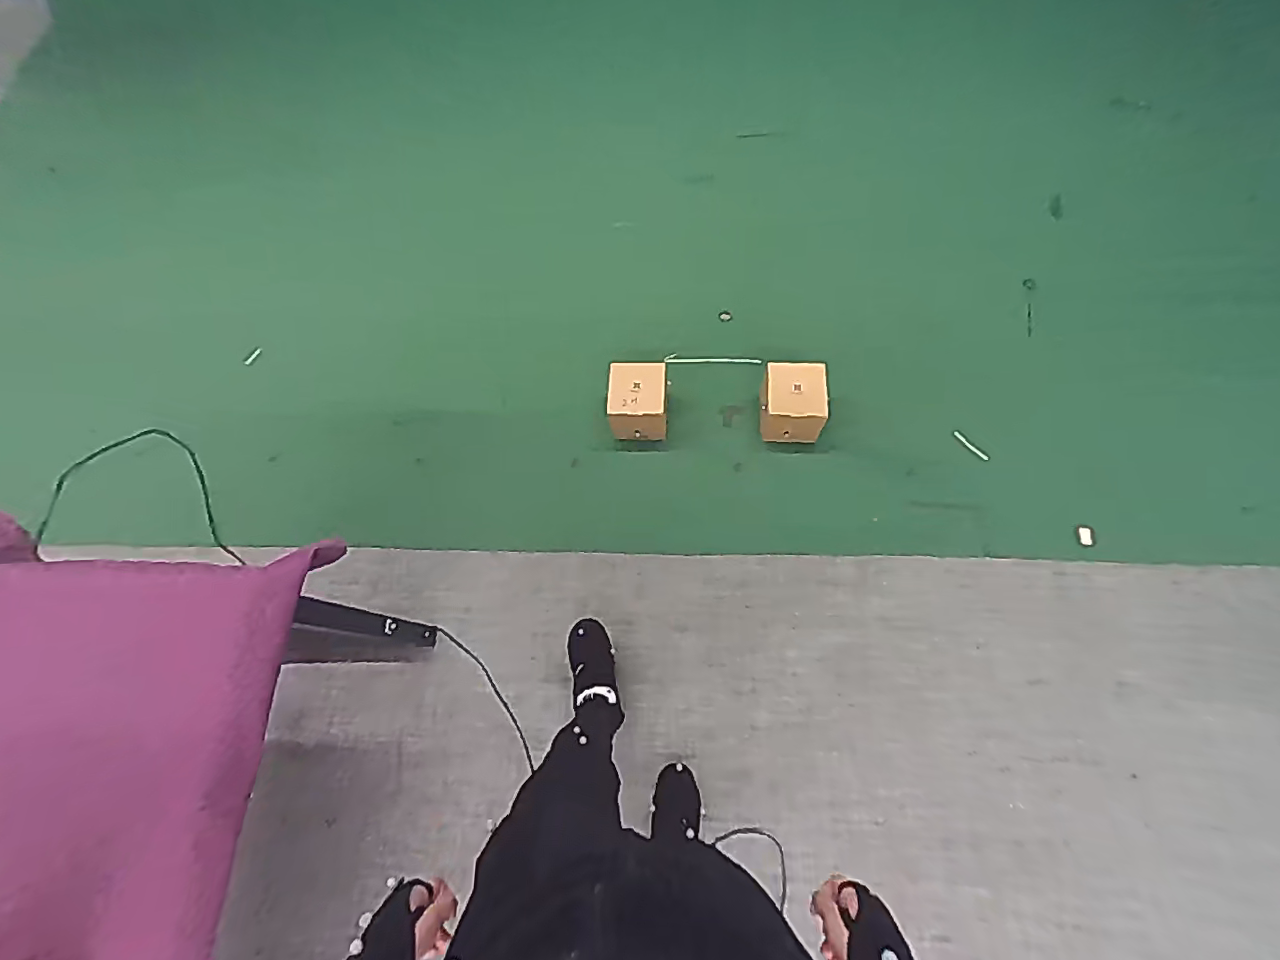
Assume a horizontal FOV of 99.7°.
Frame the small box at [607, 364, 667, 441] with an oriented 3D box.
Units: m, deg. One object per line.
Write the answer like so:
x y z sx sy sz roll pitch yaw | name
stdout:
-0.005 -0.235 1.648 0.168 0.176 0.179 1 68 5 | small box

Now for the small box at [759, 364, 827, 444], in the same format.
0.451 -0.224 1.615 0.168 0.176 0.179 2 69 4 | small box
